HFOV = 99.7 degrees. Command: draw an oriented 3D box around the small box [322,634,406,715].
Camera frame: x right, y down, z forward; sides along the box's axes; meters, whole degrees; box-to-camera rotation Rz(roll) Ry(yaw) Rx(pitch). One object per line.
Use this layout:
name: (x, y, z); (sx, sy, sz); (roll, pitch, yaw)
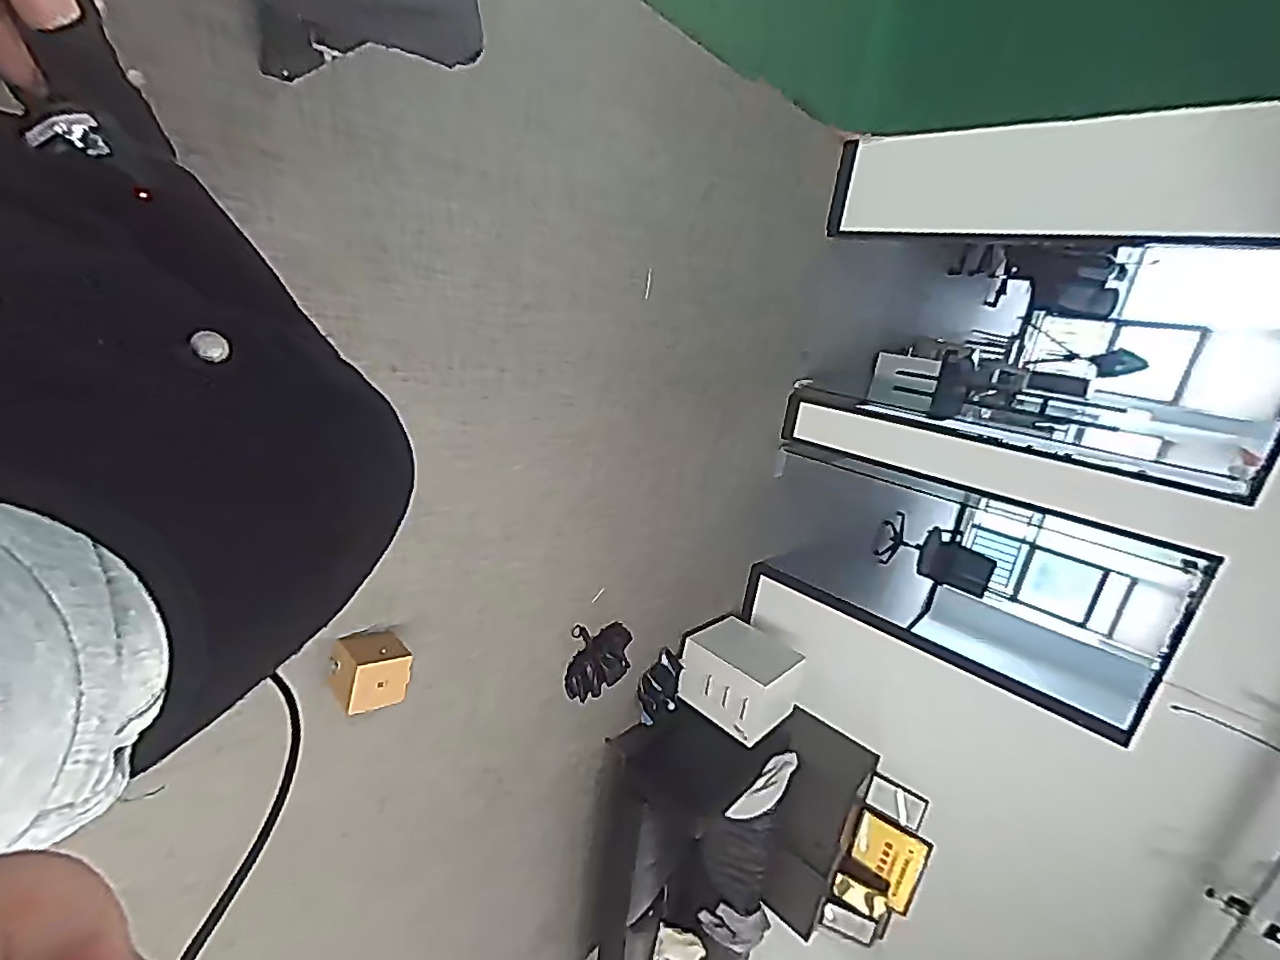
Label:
small box: (-0.880, 0.609, 1.724); (0.179, 0.176, 0.168); (4, 102, -50)
